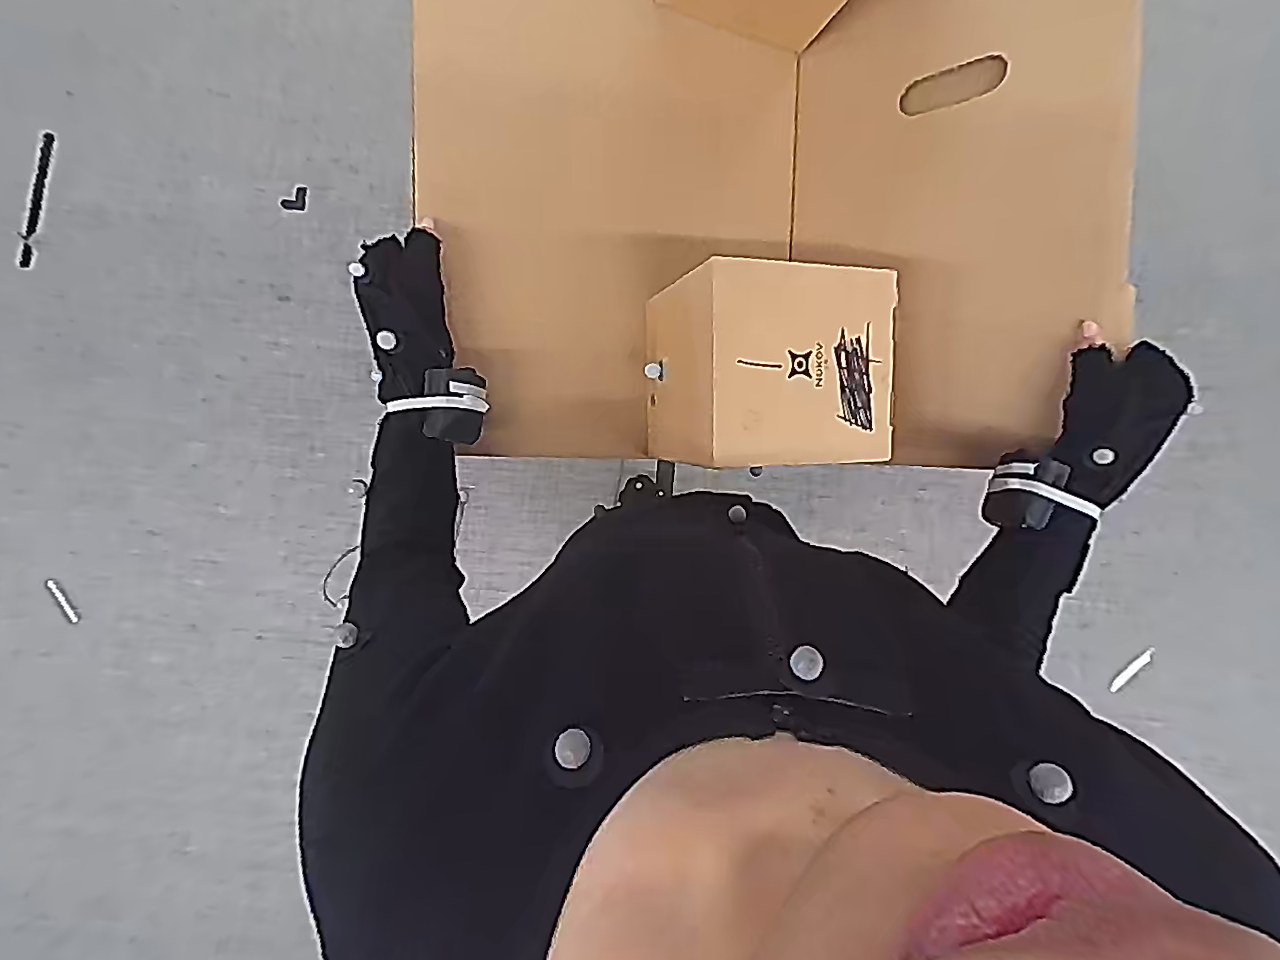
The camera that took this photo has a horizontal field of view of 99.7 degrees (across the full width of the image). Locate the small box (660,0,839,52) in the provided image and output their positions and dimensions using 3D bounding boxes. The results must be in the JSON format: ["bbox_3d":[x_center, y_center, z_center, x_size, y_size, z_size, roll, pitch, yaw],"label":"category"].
[{"bbox_3d":[0.125,-0.546,0.494,0.179,0.176,0.168,4,93,-19],"label":"small box"}]
